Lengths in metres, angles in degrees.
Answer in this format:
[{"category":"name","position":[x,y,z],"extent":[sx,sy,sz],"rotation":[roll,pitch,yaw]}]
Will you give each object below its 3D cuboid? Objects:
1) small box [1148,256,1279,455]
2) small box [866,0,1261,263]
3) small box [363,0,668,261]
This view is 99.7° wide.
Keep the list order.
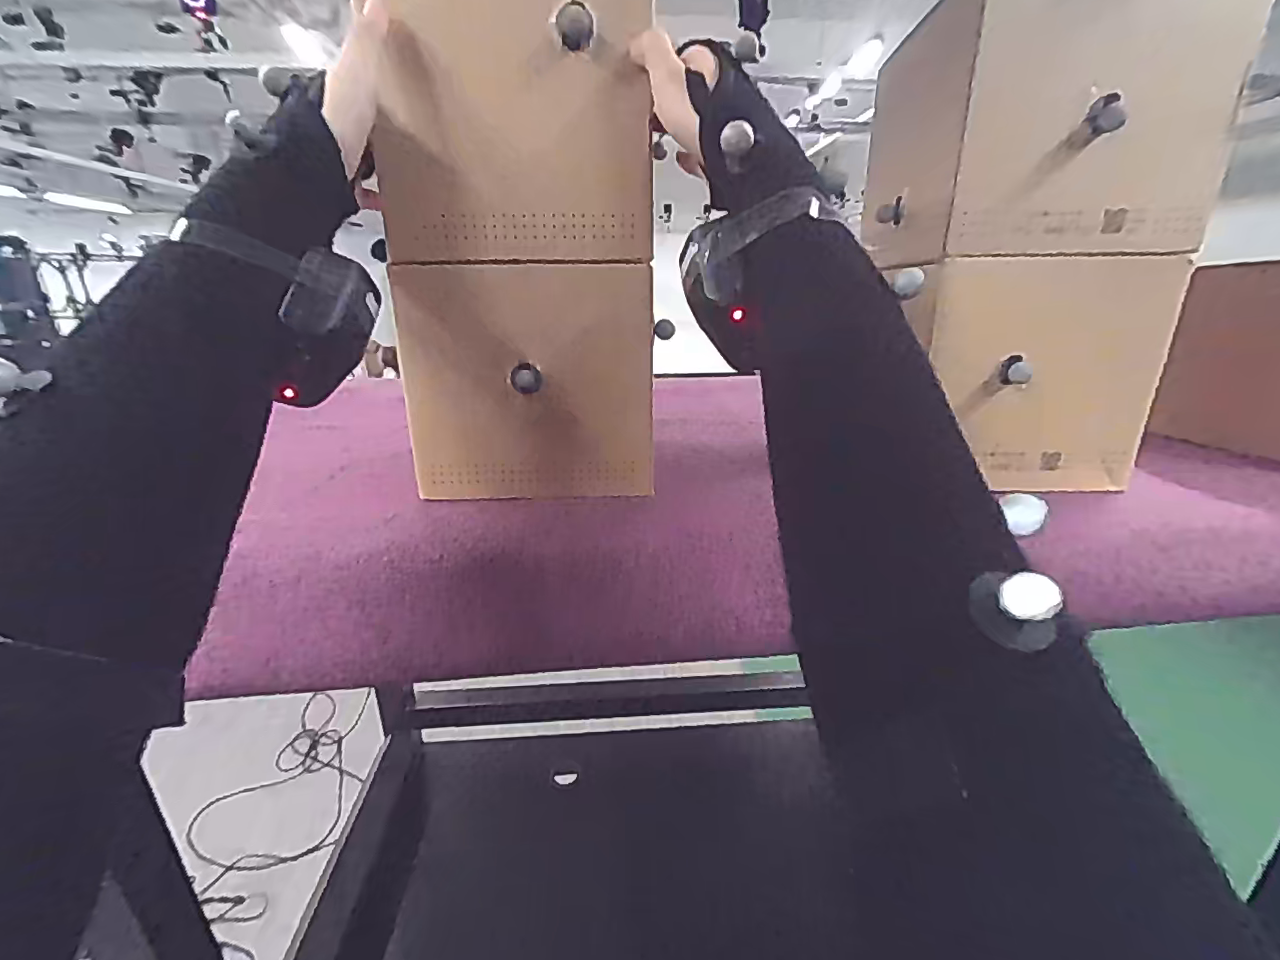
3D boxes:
[{"category":"small box","position":[0.628,-0.112,0.485],"extent":[0.168,0.176,0.179],"rotation":[-2,17,-5]},{"category":"small box","position":[0.288,-0.254,0.406],"extent":[0.168,0.176,0.179],"rotation":[1,19,2]},{"category":"small box","position":[-0.073,-0.253,0.398],"extent":[0.179,0.176,0.168],"rotation":[-2,19,-2]}]
